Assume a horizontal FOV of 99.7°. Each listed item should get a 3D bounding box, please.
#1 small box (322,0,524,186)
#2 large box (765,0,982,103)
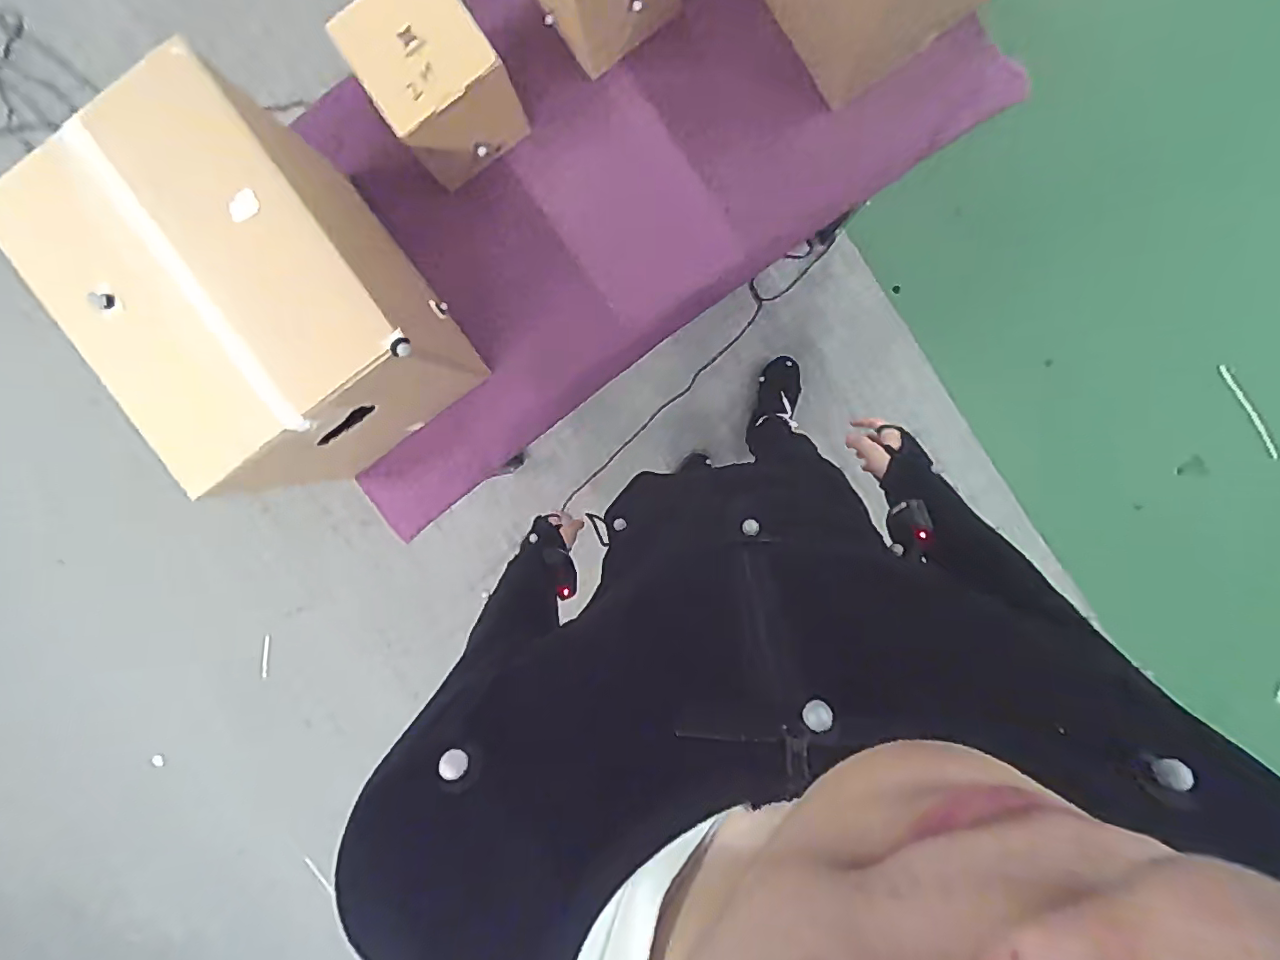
[{"bbox_3d":[-0.295,-0.570,0.773,0.168,0.176,0.179,-34,93,6],"label":"small box"},{"bbox_3d":[0.300,-0.802,0.656,0.320,0.320,0.408,-34,93,7],"label":"large box"}]
